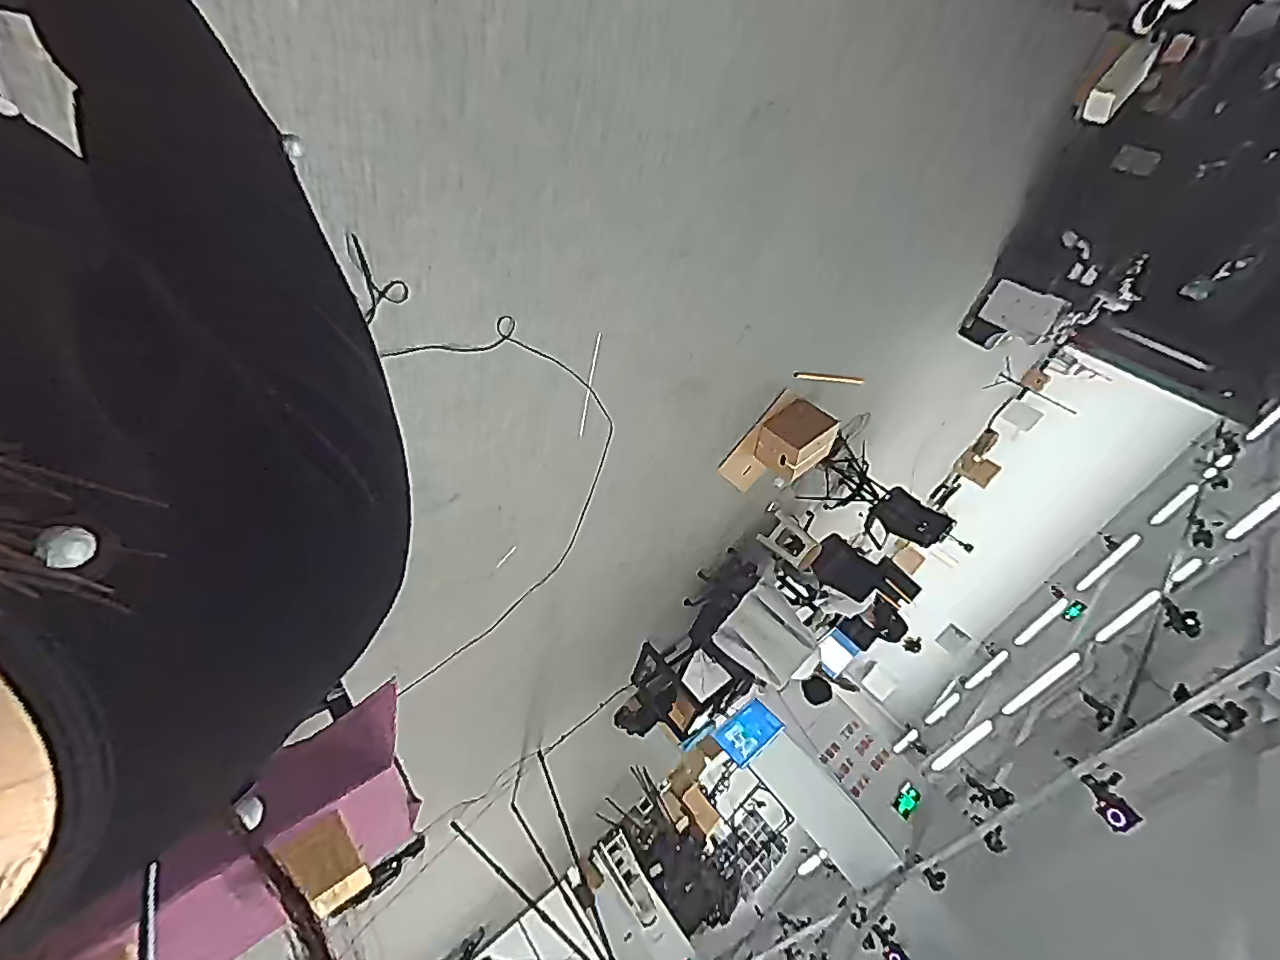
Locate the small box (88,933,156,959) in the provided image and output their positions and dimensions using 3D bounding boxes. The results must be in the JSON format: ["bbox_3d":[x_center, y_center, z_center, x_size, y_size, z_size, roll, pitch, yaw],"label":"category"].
[{"bbox_3d":[-1.162,1.135,1.163,0.179,0.176,0.168,-22,142,-38],"label":"small box"}]

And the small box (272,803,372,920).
[{"bbox_3d":[-0.837,0.999,1.429,0.179,0.176,0.168,-22,143,-35],"label":"small box"}]
